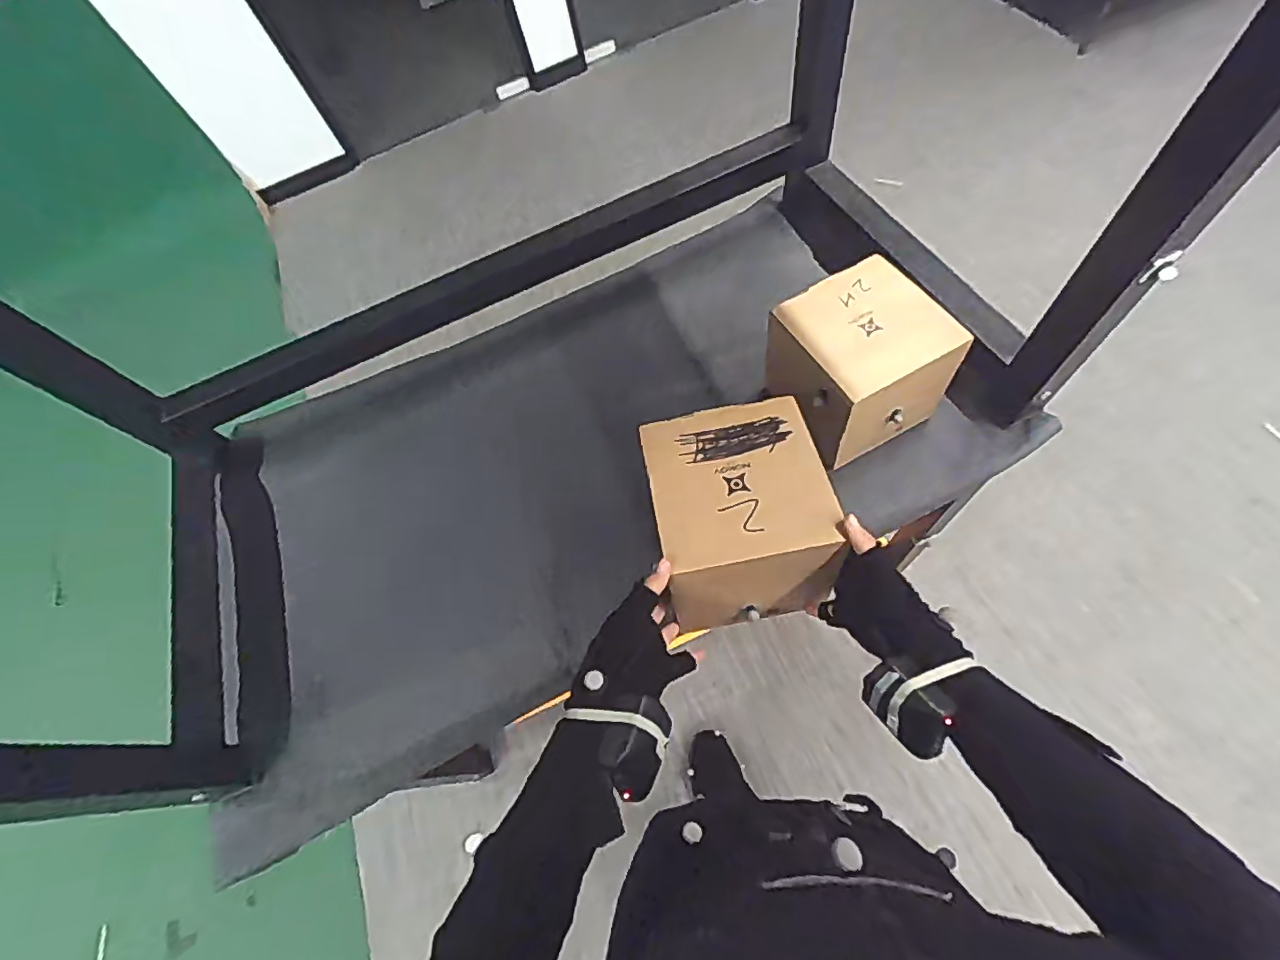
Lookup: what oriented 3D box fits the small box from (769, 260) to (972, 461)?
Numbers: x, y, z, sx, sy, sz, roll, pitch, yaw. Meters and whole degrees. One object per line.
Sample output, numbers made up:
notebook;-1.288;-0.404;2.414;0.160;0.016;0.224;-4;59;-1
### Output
small box;0.291;-0.148;0.727;0.168;0.176;0.179;-28;61;-4
